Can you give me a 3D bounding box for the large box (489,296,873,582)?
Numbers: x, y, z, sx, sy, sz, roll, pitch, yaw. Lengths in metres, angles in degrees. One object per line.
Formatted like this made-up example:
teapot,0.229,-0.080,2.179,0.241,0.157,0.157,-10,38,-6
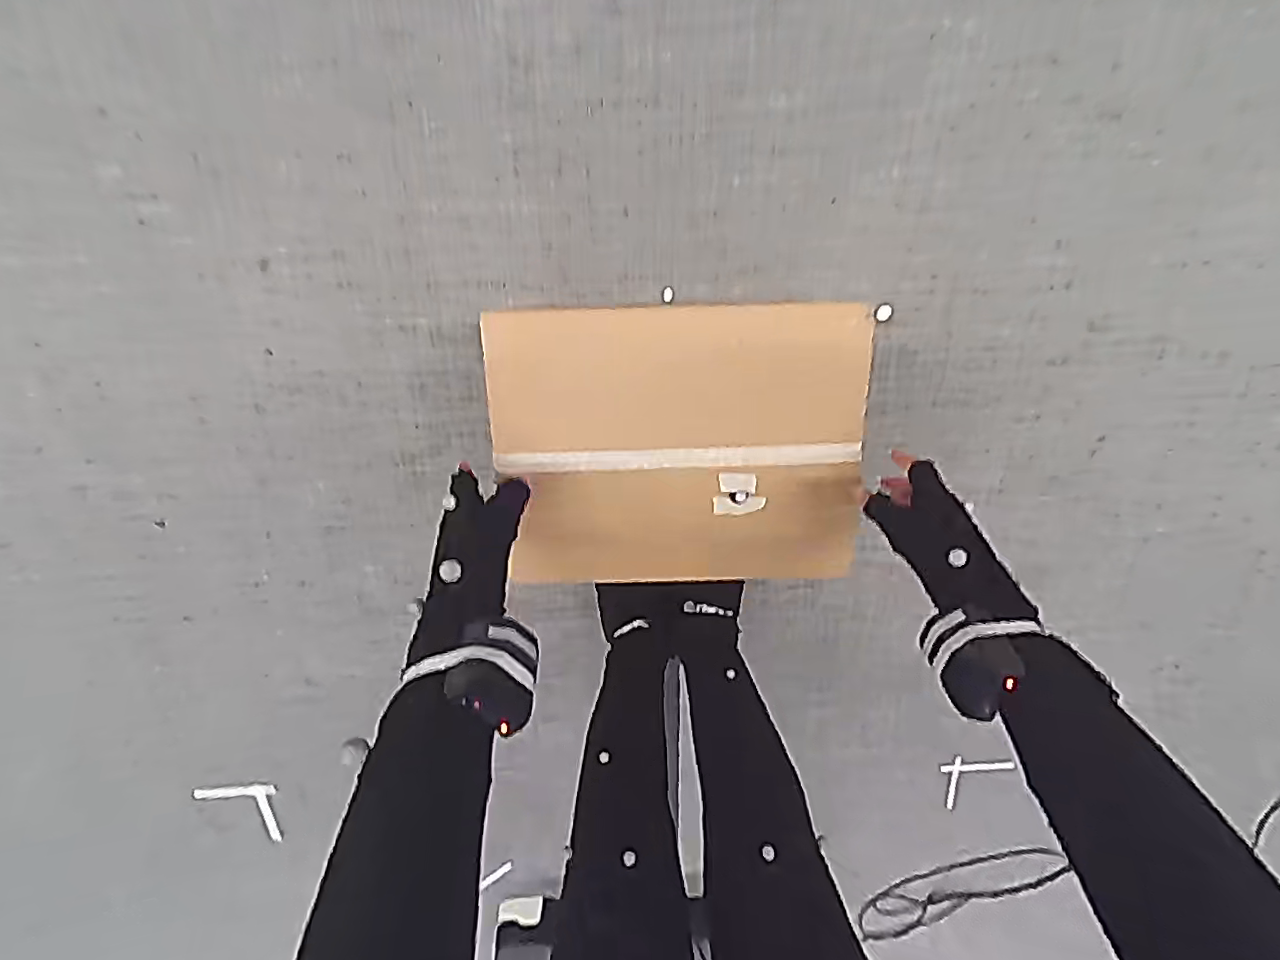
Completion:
large box,0.045,-0.078,0.740,0.408,0.320,0.320,-2,109,0
